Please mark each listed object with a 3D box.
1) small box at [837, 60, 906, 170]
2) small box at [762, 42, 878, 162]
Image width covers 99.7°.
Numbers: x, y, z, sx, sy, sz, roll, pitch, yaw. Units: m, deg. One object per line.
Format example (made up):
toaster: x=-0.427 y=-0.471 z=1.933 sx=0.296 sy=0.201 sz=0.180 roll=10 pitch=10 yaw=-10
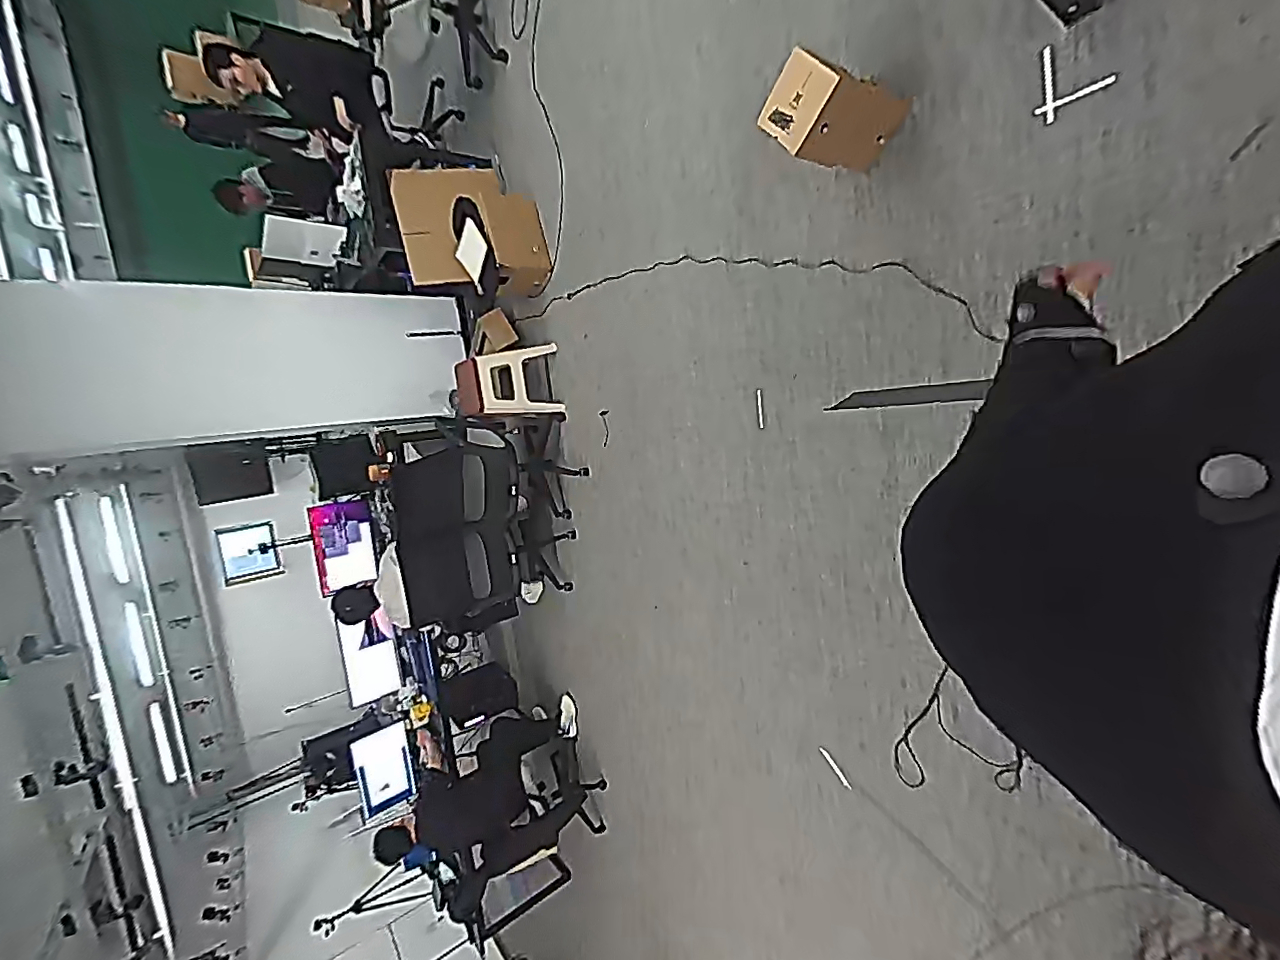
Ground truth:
small box: x=0.570 y=-0.959 z=1.433 sx=0.168 sy=0.176 sz=0.179 roll=58 pitch=139 yaw=26
small box: x=0.445 y=-0.920 z=1.332 sx=0.168 sy=0.176 sz=0.179 roll=58 pitch=139 yaw=24
